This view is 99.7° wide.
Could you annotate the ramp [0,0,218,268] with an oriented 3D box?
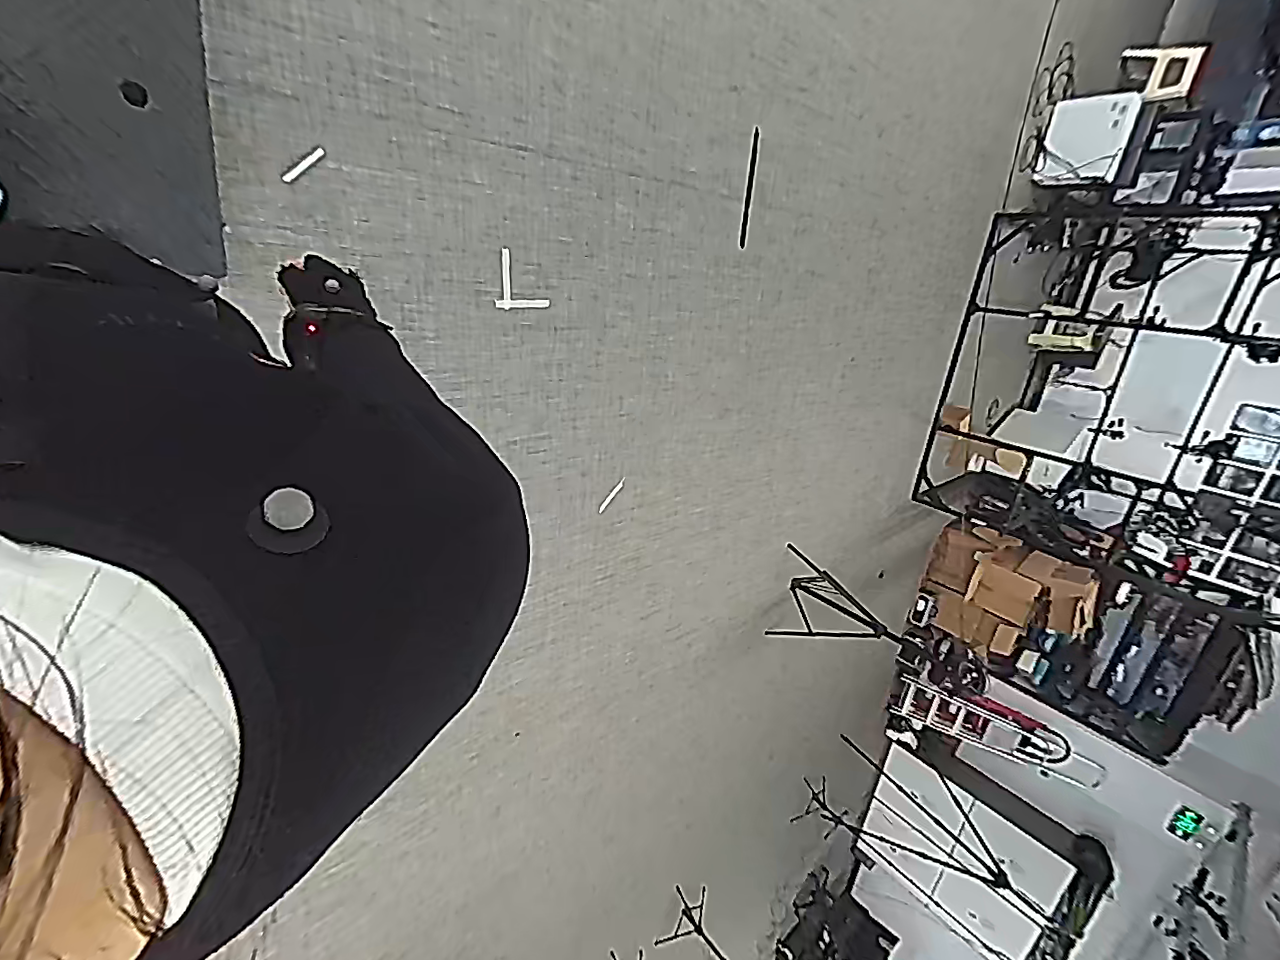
[{"bbox_3d":[-0.921,-0.824,0.723,0.509,0.206,0.991,-13,119,-41],"label":"ramp"}]
